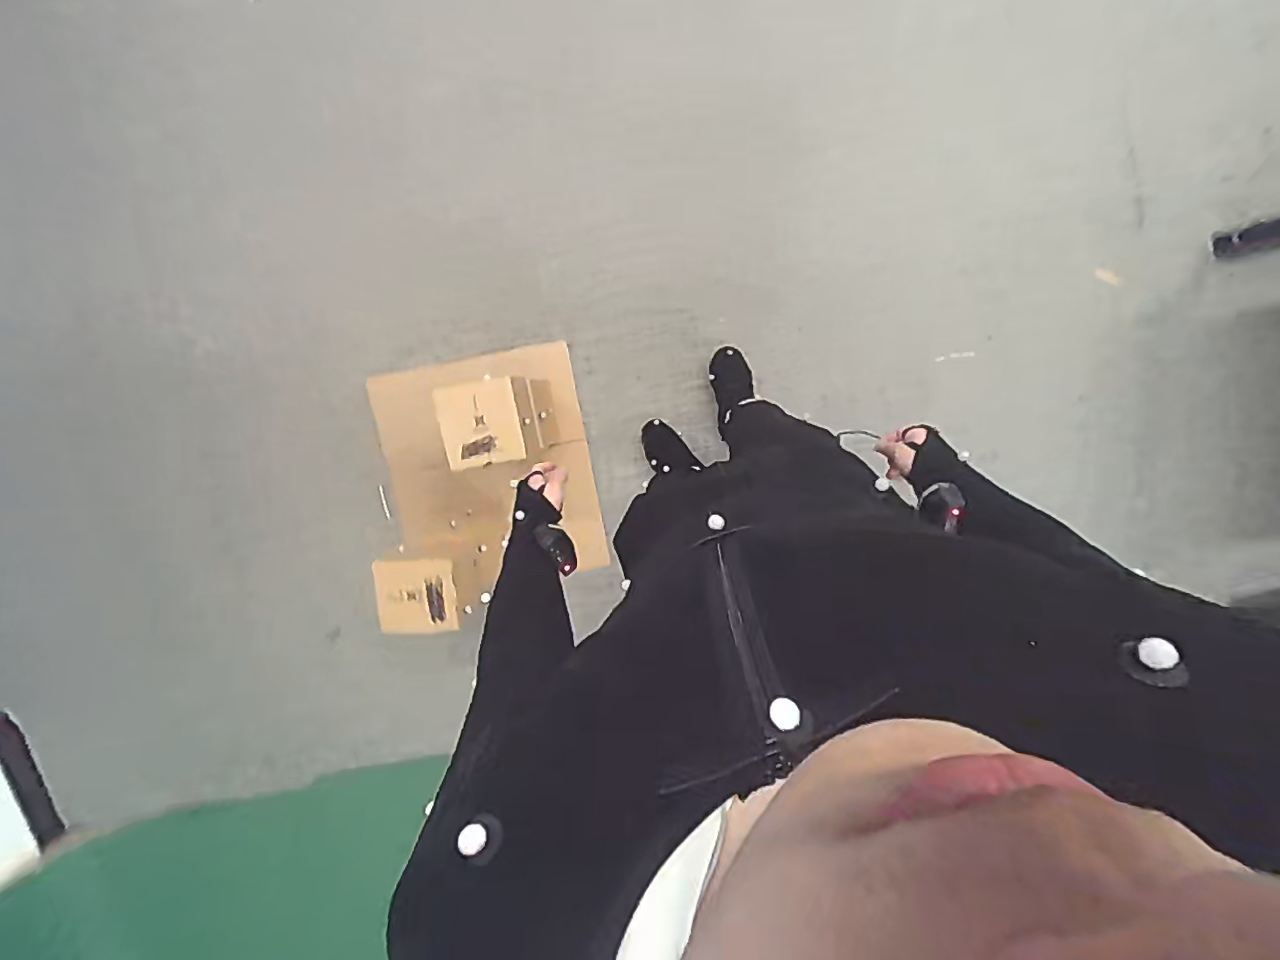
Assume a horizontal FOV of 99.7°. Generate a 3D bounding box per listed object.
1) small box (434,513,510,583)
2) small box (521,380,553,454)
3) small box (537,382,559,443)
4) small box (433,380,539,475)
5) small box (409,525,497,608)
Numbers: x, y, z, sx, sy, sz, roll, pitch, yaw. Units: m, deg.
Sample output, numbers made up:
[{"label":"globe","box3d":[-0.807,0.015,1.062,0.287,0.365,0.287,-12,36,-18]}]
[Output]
[{"label":"small box","box3d":[-0.484,0.194,1.574,0.168,0.176,0.179,-2,99,1]},{"label":"small box","box3d":[-0.324,-0.150,1.353,0.168,0.176,0.179,-11,101,1]},{"label":"small box","box3d":[-0.330,-0.175,1.513,0.168,0.176,0.179,-10,100,2]},{"label":"small box","box3d":[-0.328,-0.122,1.191,0.168,0.176,0.179,-10,100,1]},{"label":"small box","box3d":[-0.480,0.218,1.409,0.168,0.176,0.179,-3,100,1]}]
